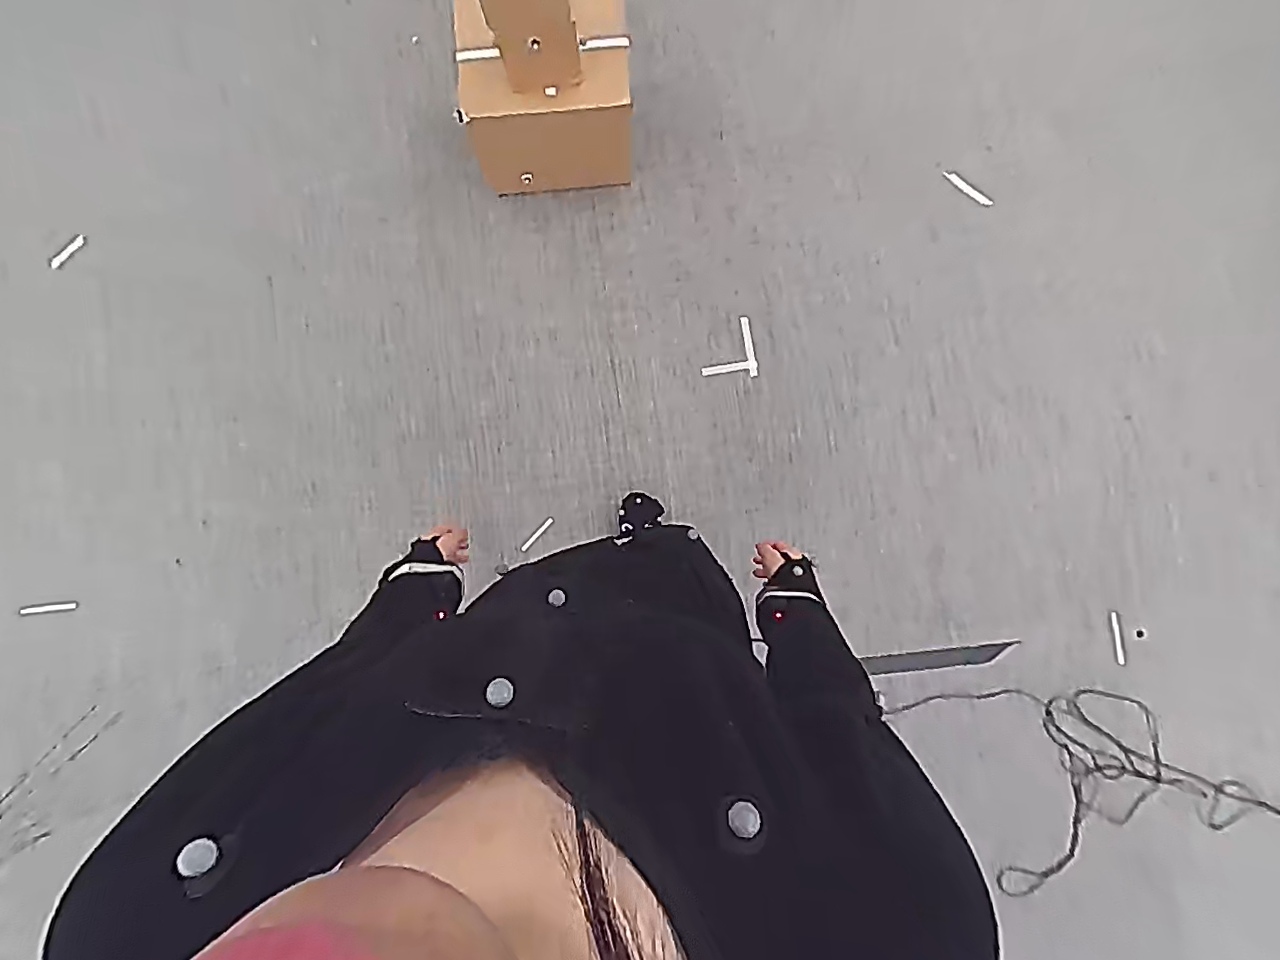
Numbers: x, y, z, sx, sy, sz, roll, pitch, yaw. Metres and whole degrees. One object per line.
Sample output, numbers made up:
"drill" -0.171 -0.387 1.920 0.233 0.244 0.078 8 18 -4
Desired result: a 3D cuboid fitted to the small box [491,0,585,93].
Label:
"small box" -0.223 -0.998 1.195 0.179 0.176 0.168 -7 87 -1
